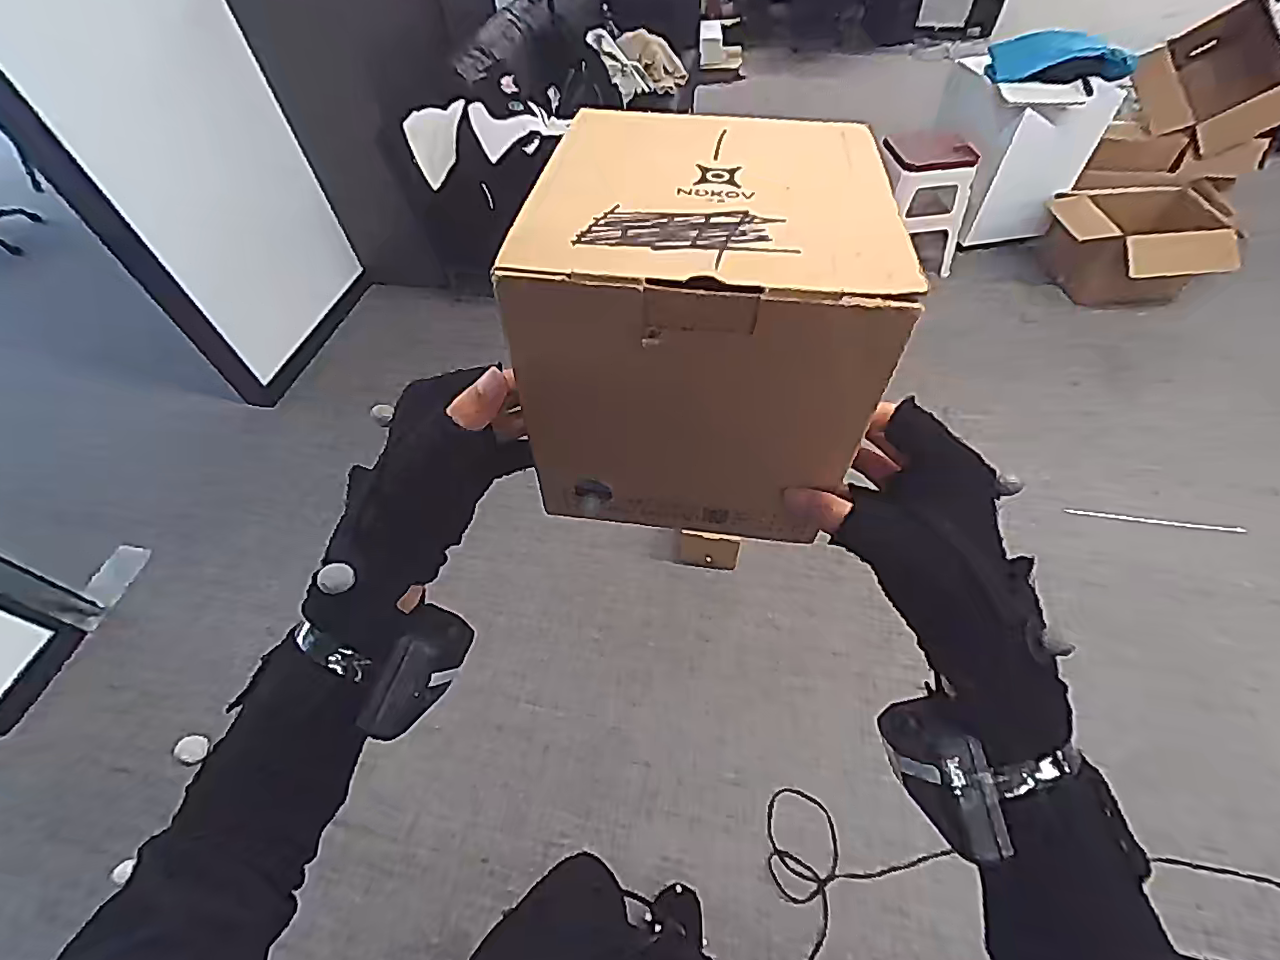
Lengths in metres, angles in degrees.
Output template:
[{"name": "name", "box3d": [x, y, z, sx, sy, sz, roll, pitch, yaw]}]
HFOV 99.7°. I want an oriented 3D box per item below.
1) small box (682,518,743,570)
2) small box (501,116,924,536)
[{"name": "small box", "box3d": [0.216, 0.138, 1.585, 0.168, 0.176, 0.179, 7, 55, 10]}, {"name": "small box", "box3d": [0.036, -0.086, 0.318, 0.168, 0.176, 0.179, 6, 51, 4]}]
